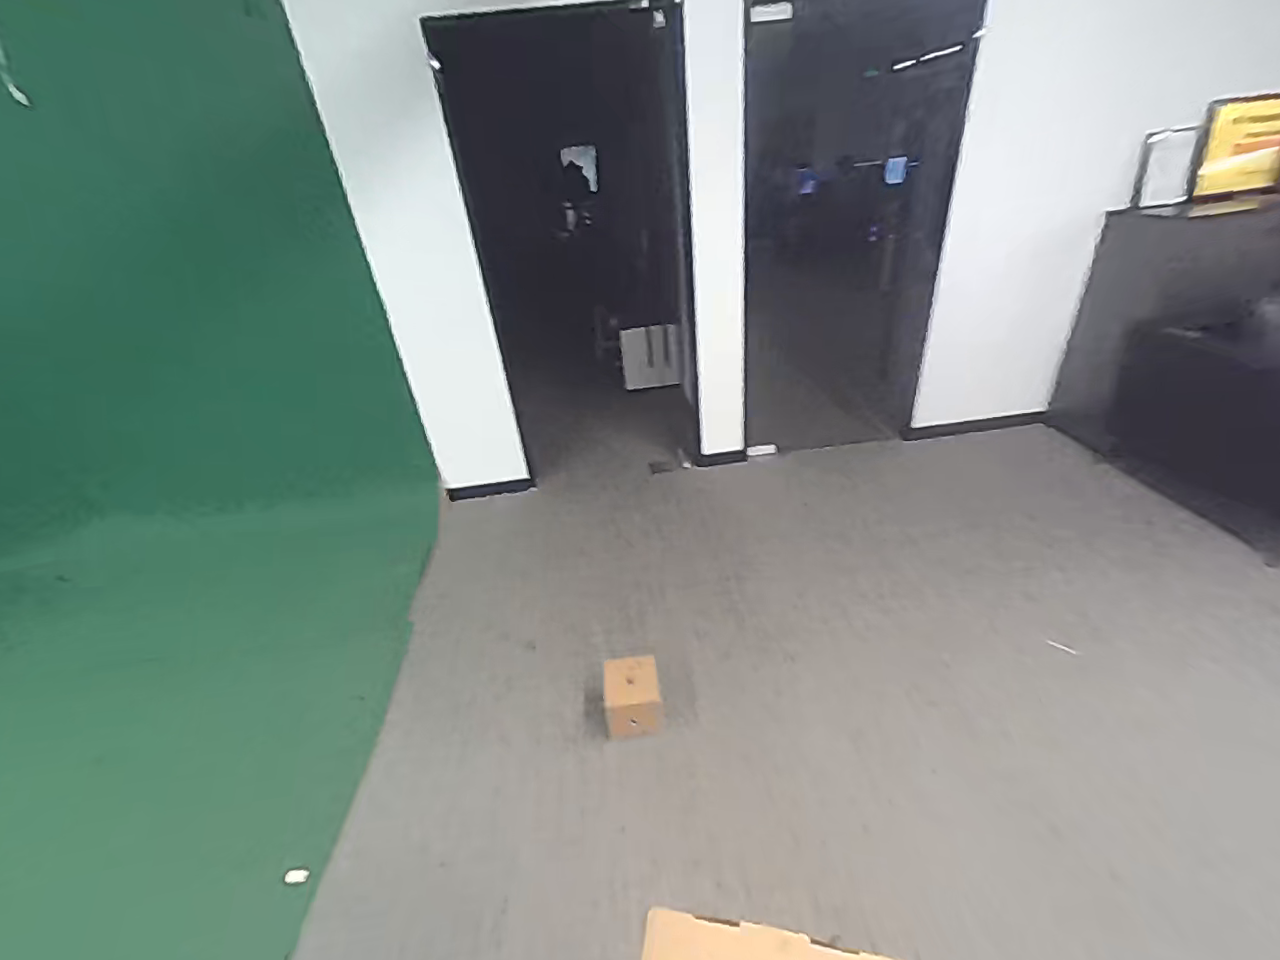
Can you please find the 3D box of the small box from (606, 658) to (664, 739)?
[{"bbox_3d":[-0.016,0.690,1.696,0.168,0.176,0.179,-6,31,0],"label":"small box"}]
